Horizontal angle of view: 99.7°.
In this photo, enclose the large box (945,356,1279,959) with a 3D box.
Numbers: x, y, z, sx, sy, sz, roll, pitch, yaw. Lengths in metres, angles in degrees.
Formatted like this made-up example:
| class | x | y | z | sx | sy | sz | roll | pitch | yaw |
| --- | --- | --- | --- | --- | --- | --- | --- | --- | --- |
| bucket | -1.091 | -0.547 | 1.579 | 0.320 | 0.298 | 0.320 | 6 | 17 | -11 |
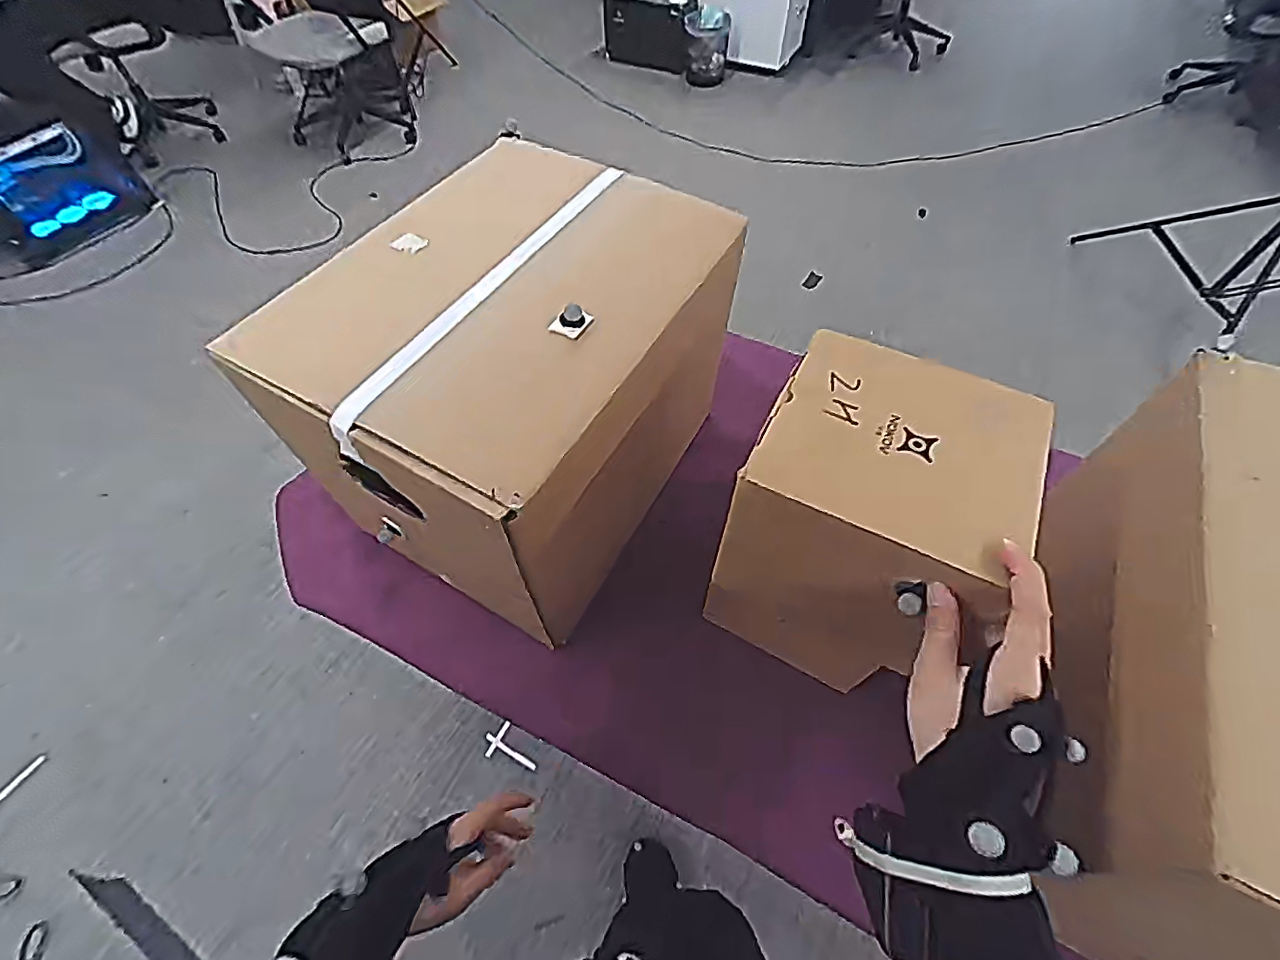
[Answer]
| class | x | y | z | sx | sy | sz | roll | pitch | yaw |
| --- | --- | --- | --- | --- | --- | --- | --- | --- | --- |
| large box | 0.491 | 0.183 | 0.423 | 0.320 | 0.320 | 0.408 | 25 | 58 | 16 |
